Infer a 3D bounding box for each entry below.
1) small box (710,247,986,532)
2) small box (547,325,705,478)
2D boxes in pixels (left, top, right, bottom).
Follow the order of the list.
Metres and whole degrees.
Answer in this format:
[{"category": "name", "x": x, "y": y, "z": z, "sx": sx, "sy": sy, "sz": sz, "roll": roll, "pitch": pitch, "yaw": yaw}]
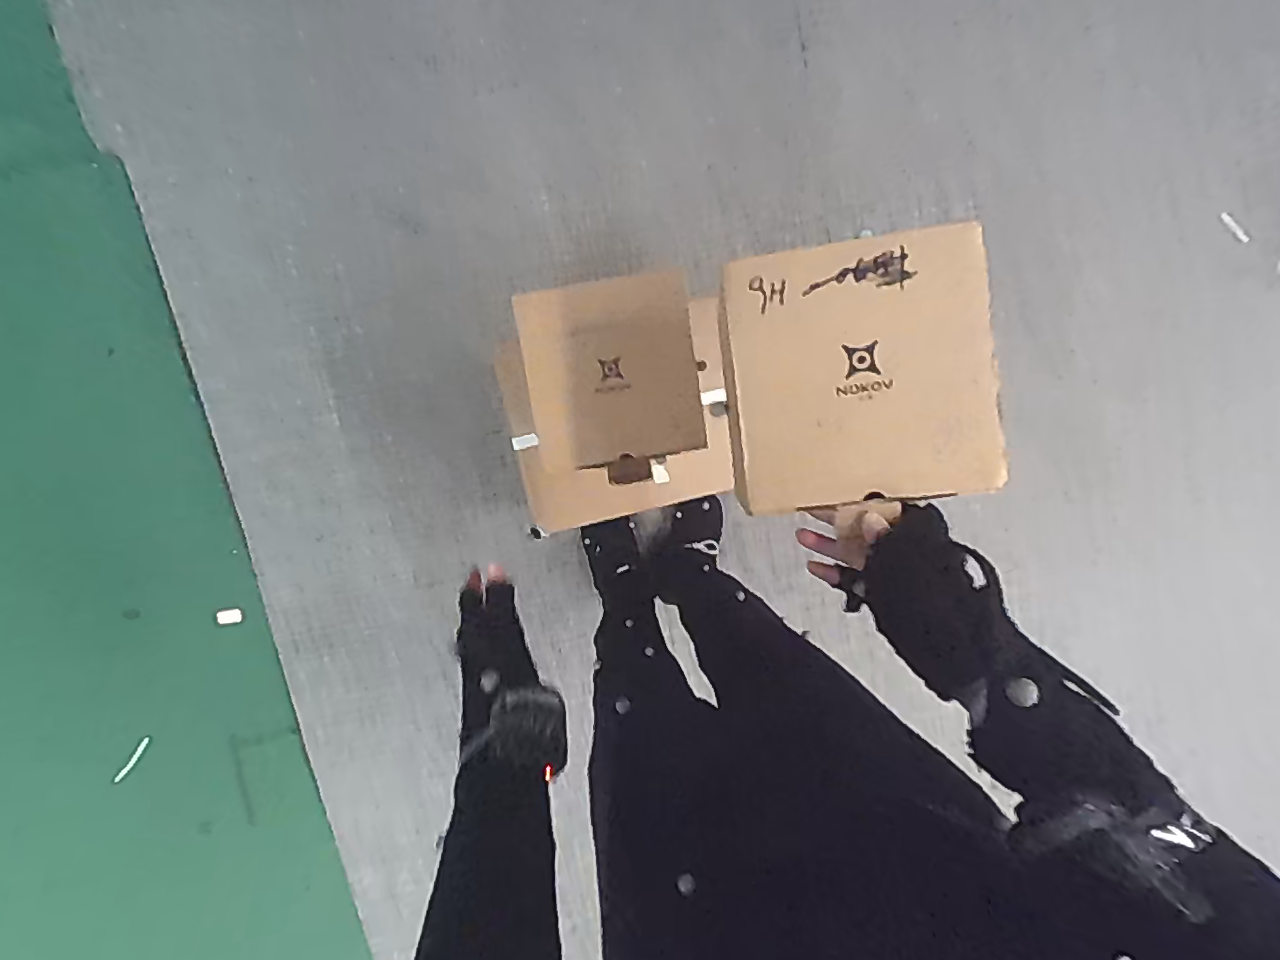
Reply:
[{"category": "small box", "x": 0.151, "y": -0.062, "z": 0.446, "sx": 0.168, "sy": 0.176, "sz": 0.179, "roll": -8, "pitch": 91, "yaw": 8}, {"category": "small box", "x": -0.019, "y": -0.111, "z": 0.769, "sx": 0.179, "sy": 0.176, "sz": 0.168, "roll": -14, "pitch": 98, "yaw": 1}]
